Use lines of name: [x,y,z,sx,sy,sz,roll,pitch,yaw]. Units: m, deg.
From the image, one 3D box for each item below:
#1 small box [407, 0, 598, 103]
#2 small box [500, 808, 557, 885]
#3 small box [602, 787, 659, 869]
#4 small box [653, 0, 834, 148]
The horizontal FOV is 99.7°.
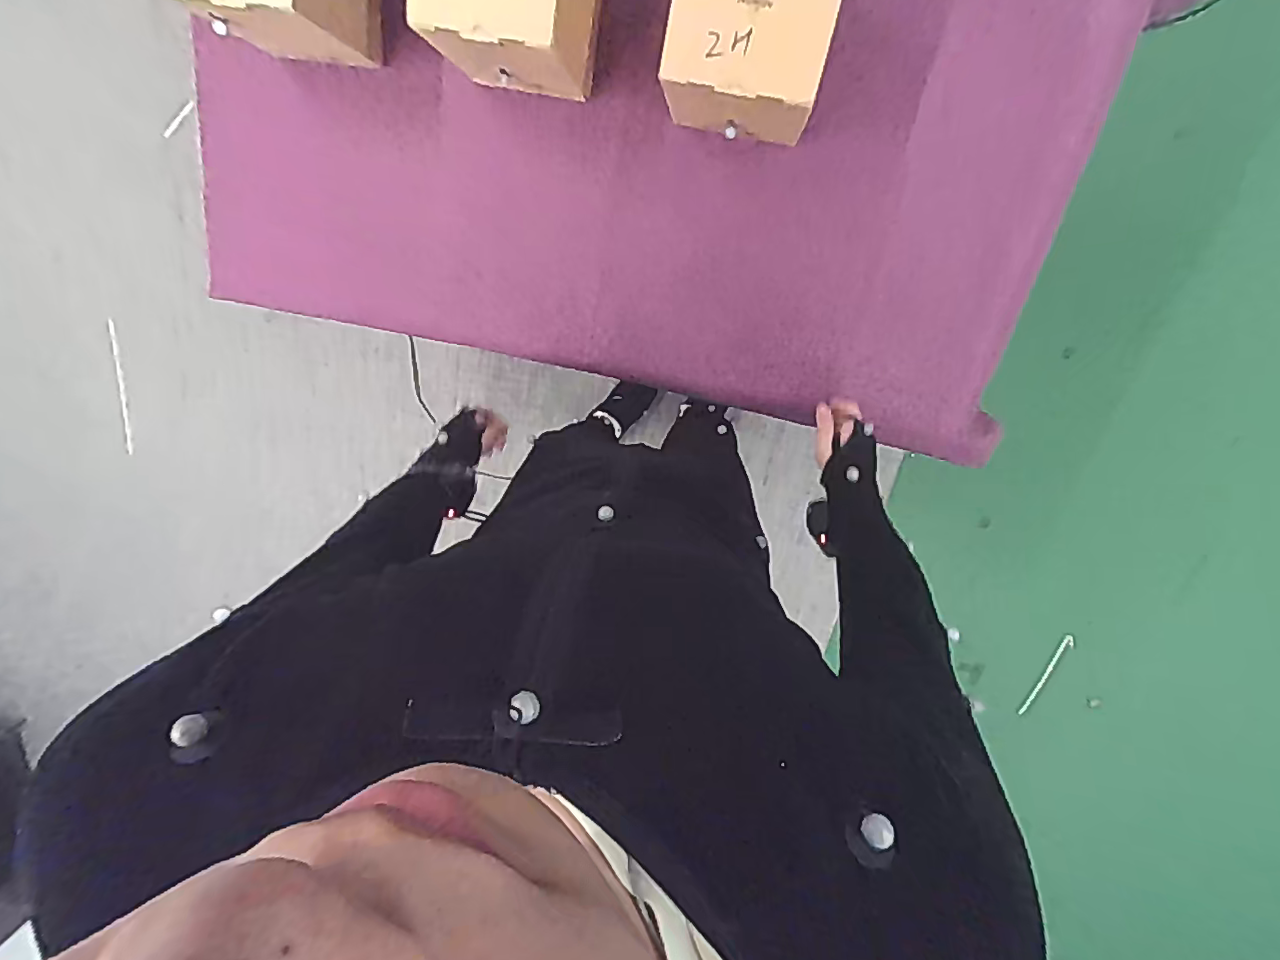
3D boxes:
small box: [-0.150,-0.580,0.634,0.168,0.176,0.179,13,112,5]
small box: [-0.441,1.467,2.171,0.168,0.176,0.179,16,112,4]
small box: [-0.032,1.314,2.047,0.168,0.176,0.179,15,112,4]
small box: [0.121,-0.506,0.611,0.168,0.176,0.179,15,112,5]
